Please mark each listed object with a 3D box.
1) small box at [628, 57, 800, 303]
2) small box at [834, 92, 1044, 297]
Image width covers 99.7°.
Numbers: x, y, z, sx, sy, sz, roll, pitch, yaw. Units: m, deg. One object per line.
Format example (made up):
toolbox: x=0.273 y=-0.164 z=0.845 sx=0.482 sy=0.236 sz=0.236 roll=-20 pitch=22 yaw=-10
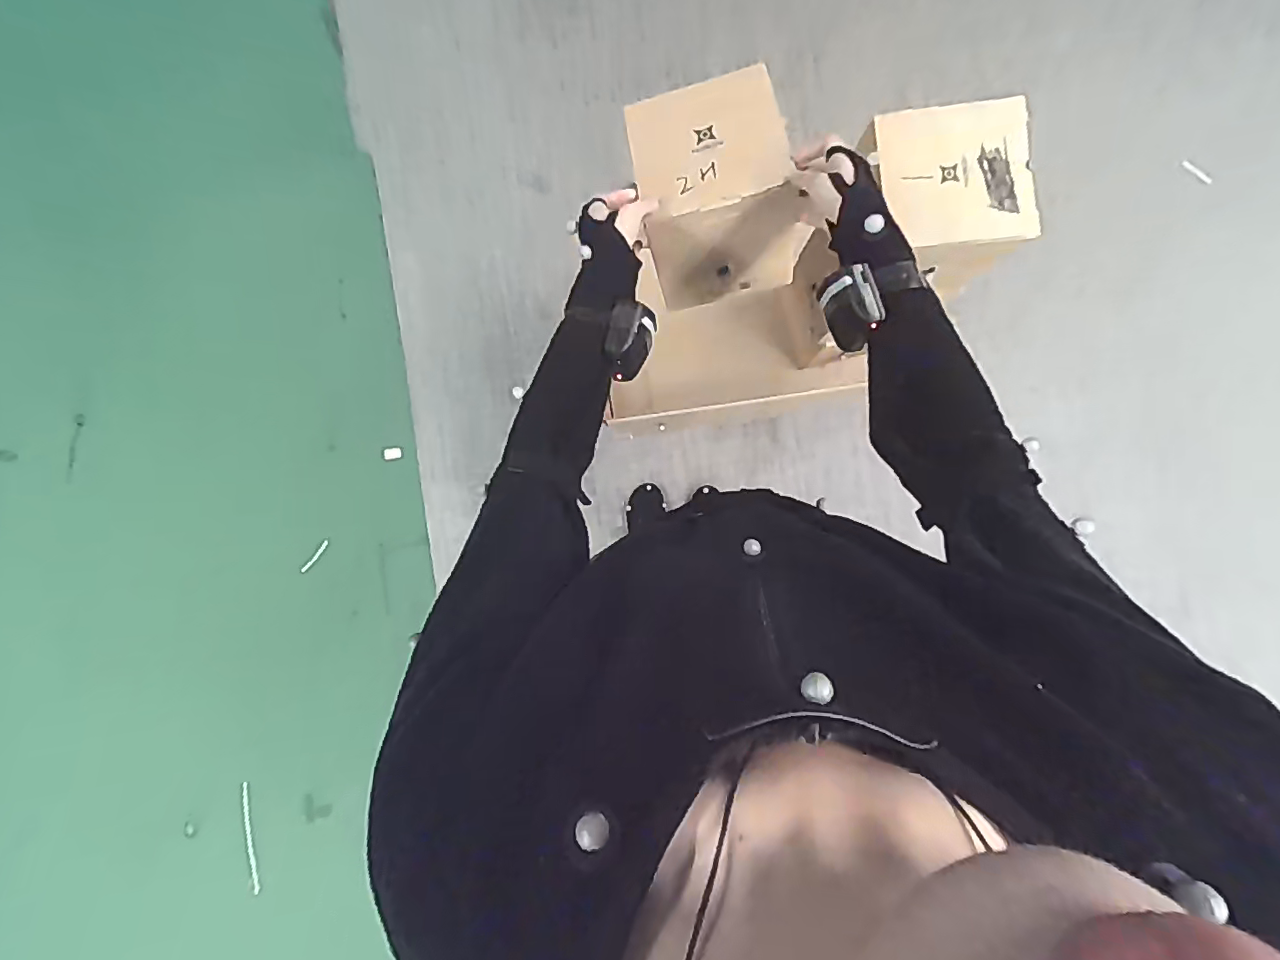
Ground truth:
small box: x=0.090 y=-0.348 z=0.656 sx=0.168 sy=0.176 sz=0.179 roll=-11 pitch=73 yaw=10
small box: x=0.369 y=-0.352 z=0.697 sx=0.179 sy=0.176 sz=0.168 roll=-5 pitch=88 yaw=4
